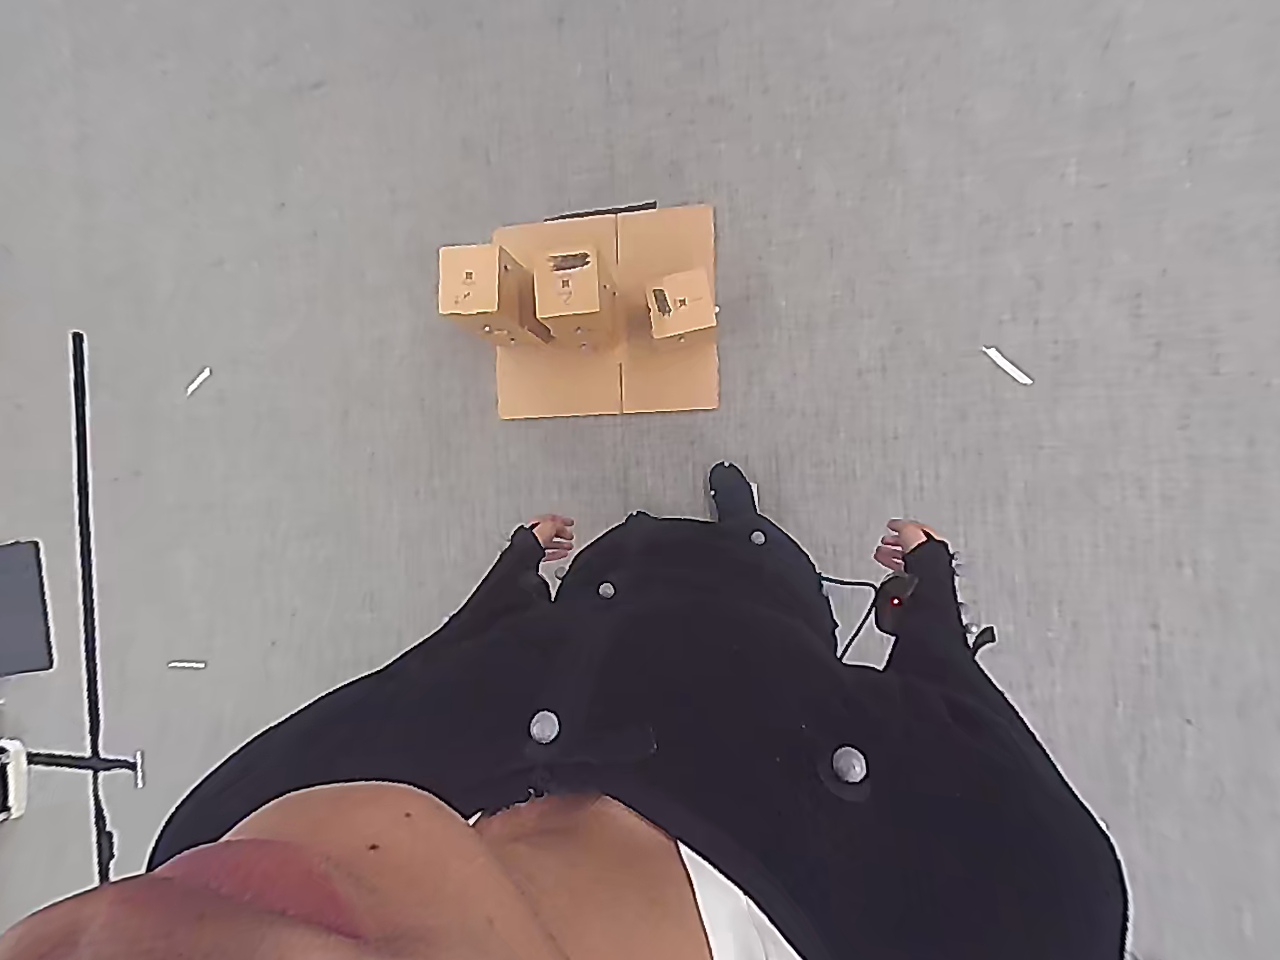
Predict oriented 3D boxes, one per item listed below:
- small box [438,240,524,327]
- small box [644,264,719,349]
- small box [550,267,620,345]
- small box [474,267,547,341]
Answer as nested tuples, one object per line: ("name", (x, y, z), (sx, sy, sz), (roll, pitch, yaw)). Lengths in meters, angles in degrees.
("small box", (-0.419, -0.517, 1.444), (0.168, 0.176, 0.179), (2, 92, 10))
("small box", (0.120, -0.480, 1.520), (0.179, 0.176, 0.168), (-10, 90, 10))
("small box", (-0.154, -0.499, 1.567), (0.168, 0.176, 0.179), (2, 91, 9))
("small box", (-0.381, -0.513, 1.605), (0.168, 0.176, 0.179), (1, 92, 10))
